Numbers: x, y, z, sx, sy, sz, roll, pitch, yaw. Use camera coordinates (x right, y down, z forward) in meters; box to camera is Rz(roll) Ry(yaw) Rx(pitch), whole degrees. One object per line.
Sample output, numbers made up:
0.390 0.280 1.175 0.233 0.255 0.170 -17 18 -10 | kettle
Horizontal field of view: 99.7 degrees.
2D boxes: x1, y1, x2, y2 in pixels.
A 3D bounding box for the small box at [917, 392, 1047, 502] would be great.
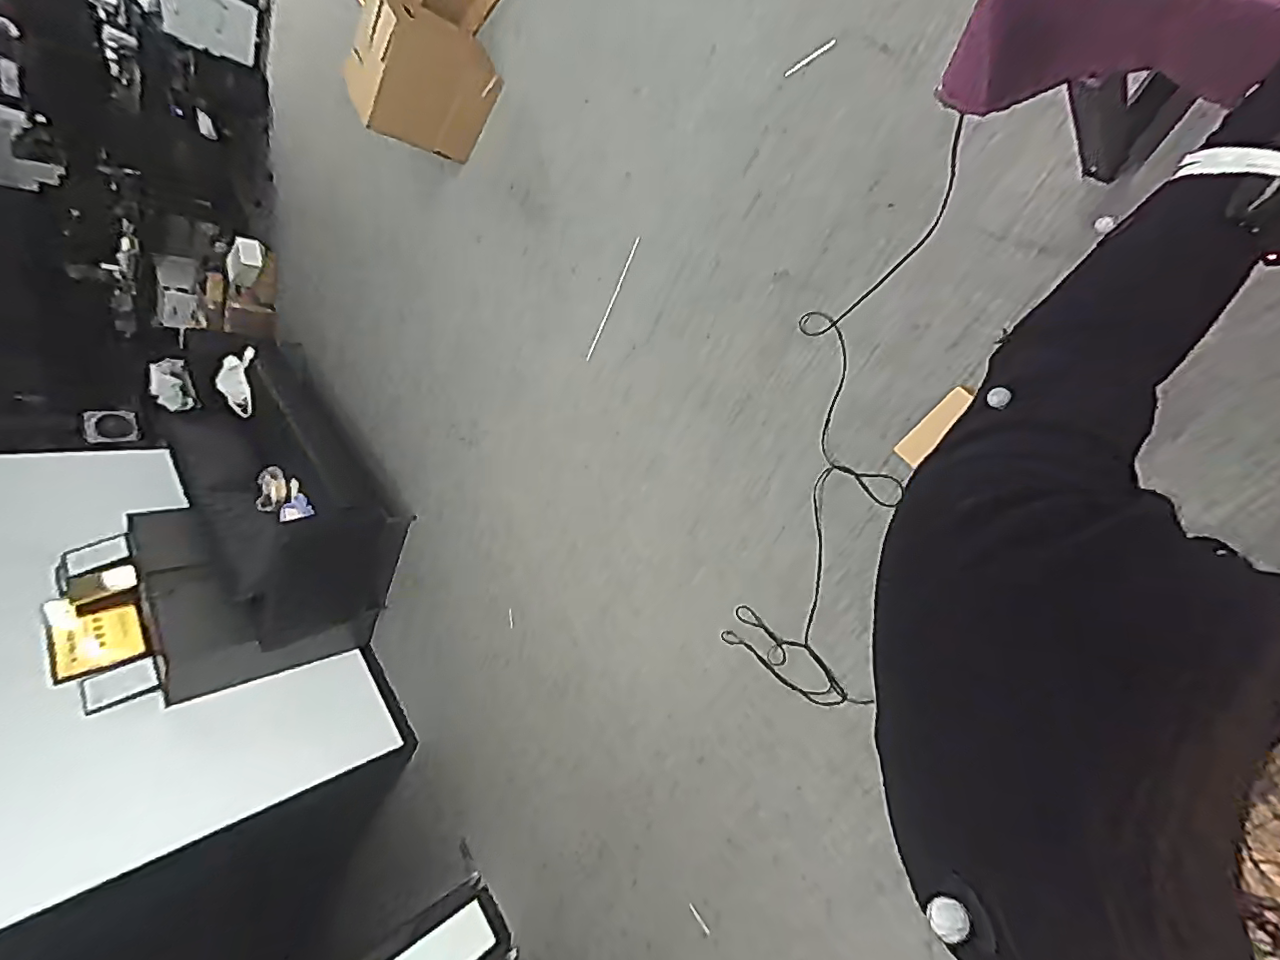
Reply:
0.759 -0.074 1.194 0.168 0.176 0.179 49 123 26 | small box
